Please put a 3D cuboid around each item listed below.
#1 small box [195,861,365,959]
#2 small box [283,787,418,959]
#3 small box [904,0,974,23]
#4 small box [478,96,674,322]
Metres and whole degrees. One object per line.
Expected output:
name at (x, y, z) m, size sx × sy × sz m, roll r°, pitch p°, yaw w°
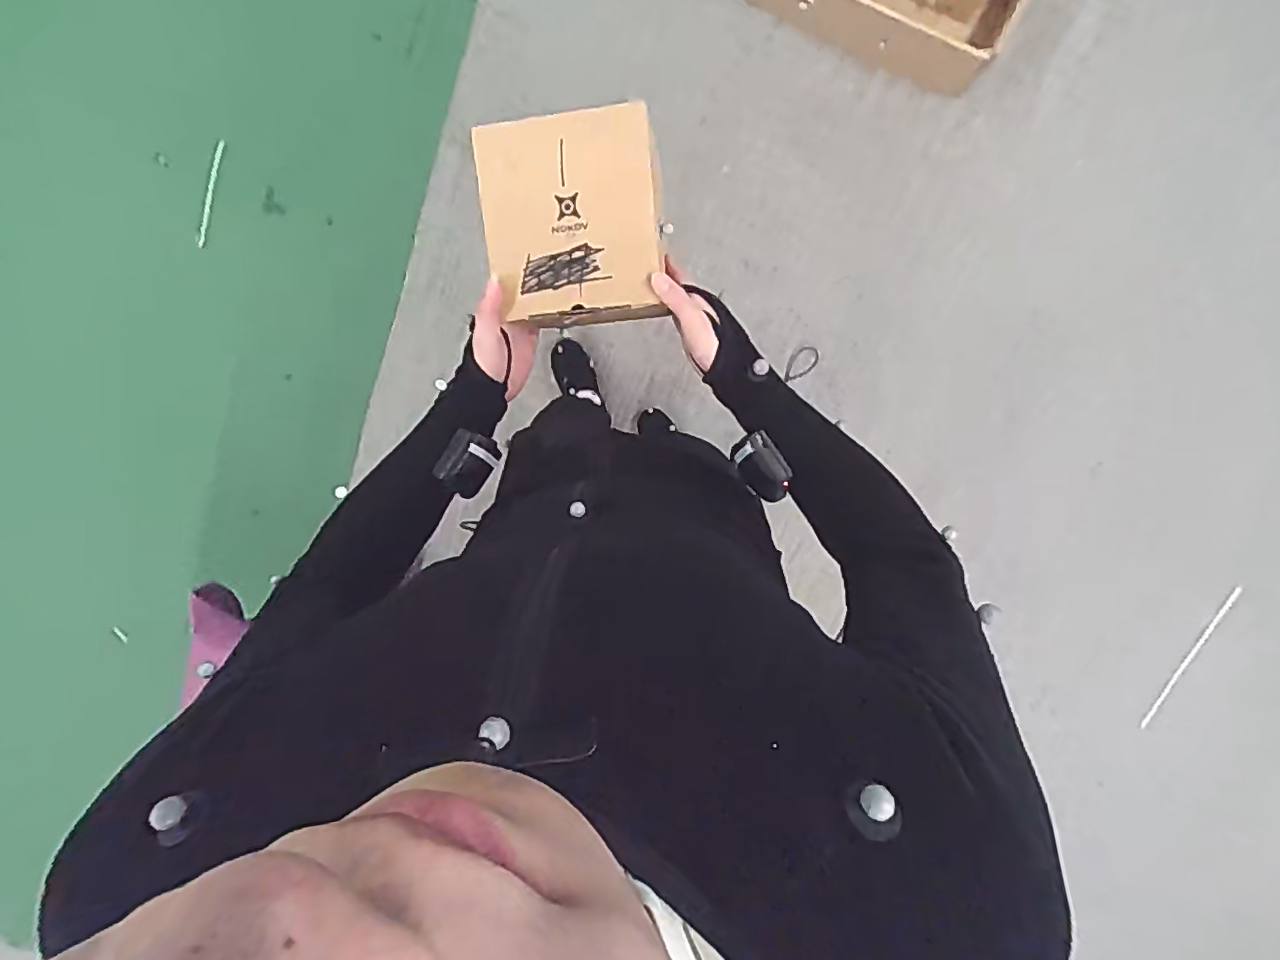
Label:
small box at (-0.560, 0.755, 0.844) m, size 0.168 × 0.176 × 0.179 m, roll 17°, pitch 104°, yaw 2°
small box at (-0.540, 0.723, 1.004) m, size 0.168 × 0.176 × 0.179 m, roll 18°, pitch 102°, yaw 2°
small box at (0.699, -1.165, 1.174) m, size 0.168 × 0.176 × 0.179 m, roll 27°, pitch 103°, yaw 2°
small box at (-0.053, -0.265, 0.576) m, size 0.168 × 0.176 × 0.179 m, roll -3°, pitch 102°, yaw 6°
